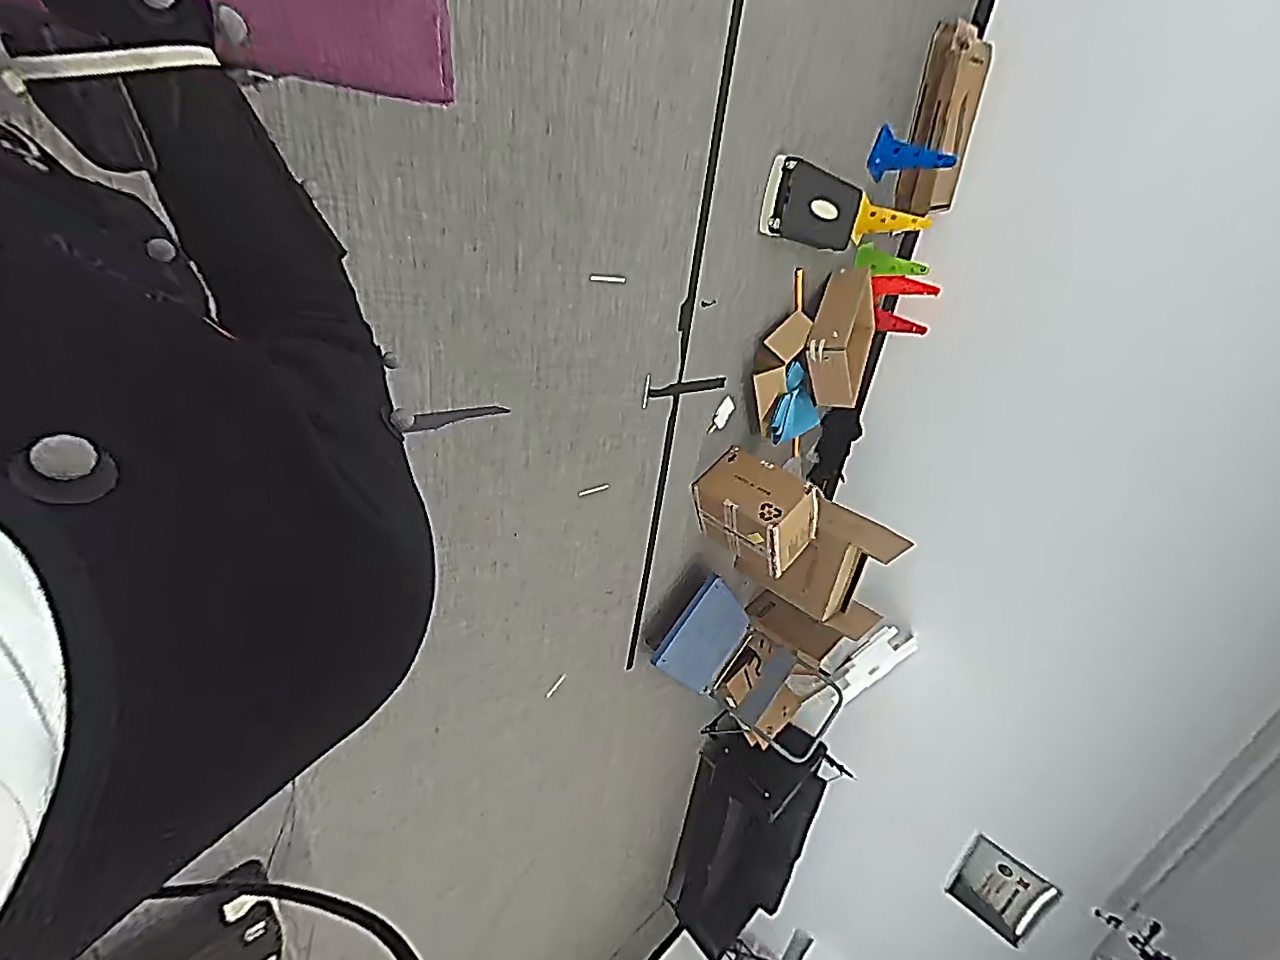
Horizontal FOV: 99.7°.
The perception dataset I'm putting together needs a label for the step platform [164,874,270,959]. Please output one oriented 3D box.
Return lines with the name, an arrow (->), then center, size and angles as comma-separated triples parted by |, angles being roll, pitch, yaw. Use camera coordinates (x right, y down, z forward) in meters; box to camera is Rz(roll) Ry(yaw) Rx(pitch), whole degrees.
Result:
step platform -> -1.417, 1.443, 1.463 | 0.684, 0.204, 0.286 | -18, 127, -44
